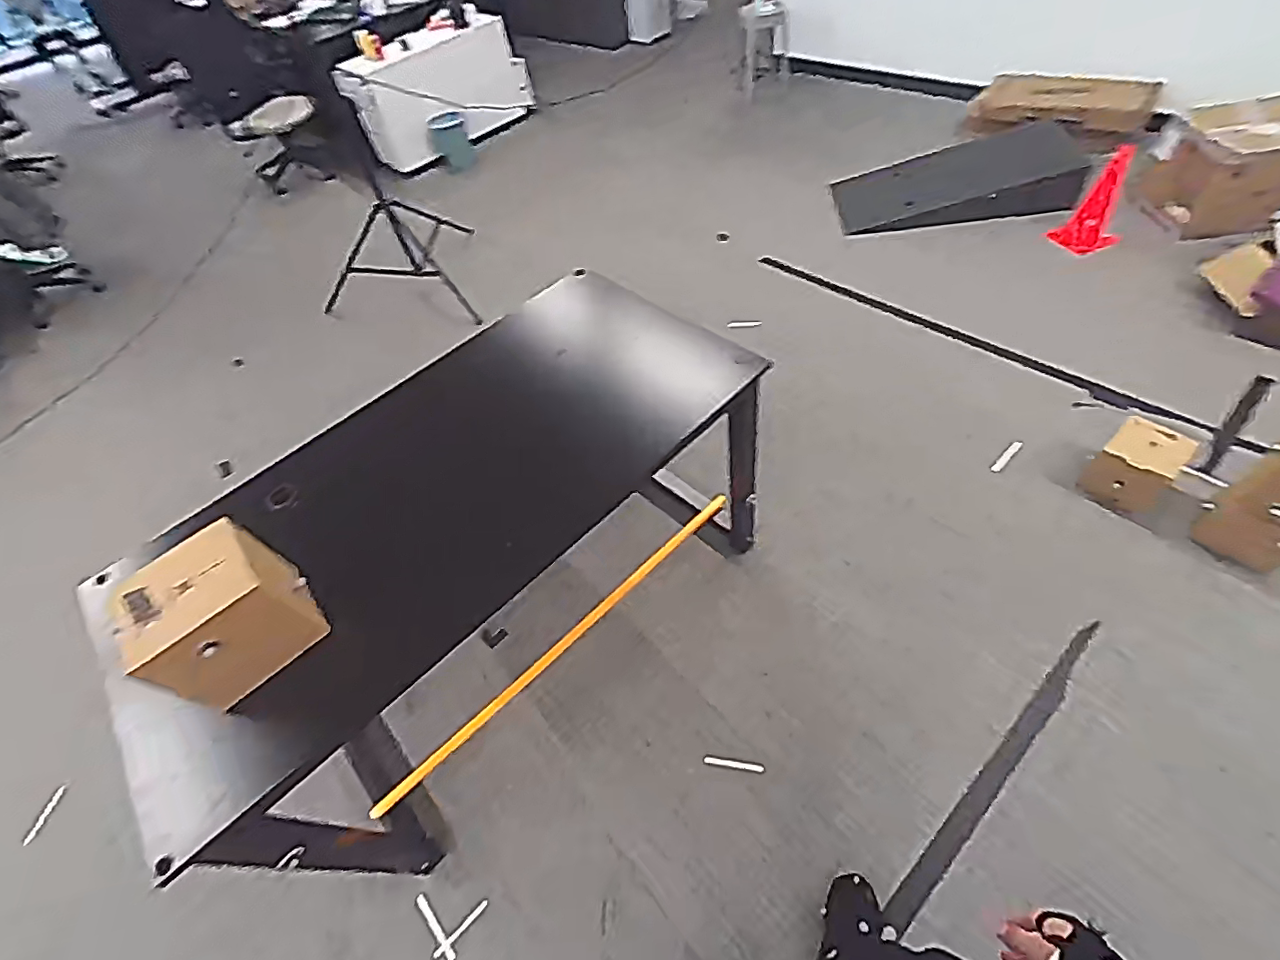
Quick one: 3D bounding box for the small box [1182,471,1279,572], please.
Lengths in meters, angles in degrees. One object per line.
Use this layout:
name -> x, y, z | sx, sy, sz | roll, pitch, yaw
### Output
small box -> 1.590, 0.115, 1.403 | 0.168, 0.176, 0.179 | -41, 58, -20

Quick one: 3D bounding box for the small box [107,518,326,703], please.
small box -> -0.618, 0.198, 0.805 | 0.179, 0.176, 0.168 | -39, 57, -20

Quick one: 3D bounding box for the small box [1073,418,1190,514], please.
small box -> 1.392, -0.036, 1.548 | 0.179, 0.176, 0.168 | -39, 57, -18

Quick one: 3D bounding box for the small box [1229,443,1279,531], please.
small box -> 1.574, 0.010, 1.280 | 0.179, 0.176, 0.168 | -40, 57, -18
